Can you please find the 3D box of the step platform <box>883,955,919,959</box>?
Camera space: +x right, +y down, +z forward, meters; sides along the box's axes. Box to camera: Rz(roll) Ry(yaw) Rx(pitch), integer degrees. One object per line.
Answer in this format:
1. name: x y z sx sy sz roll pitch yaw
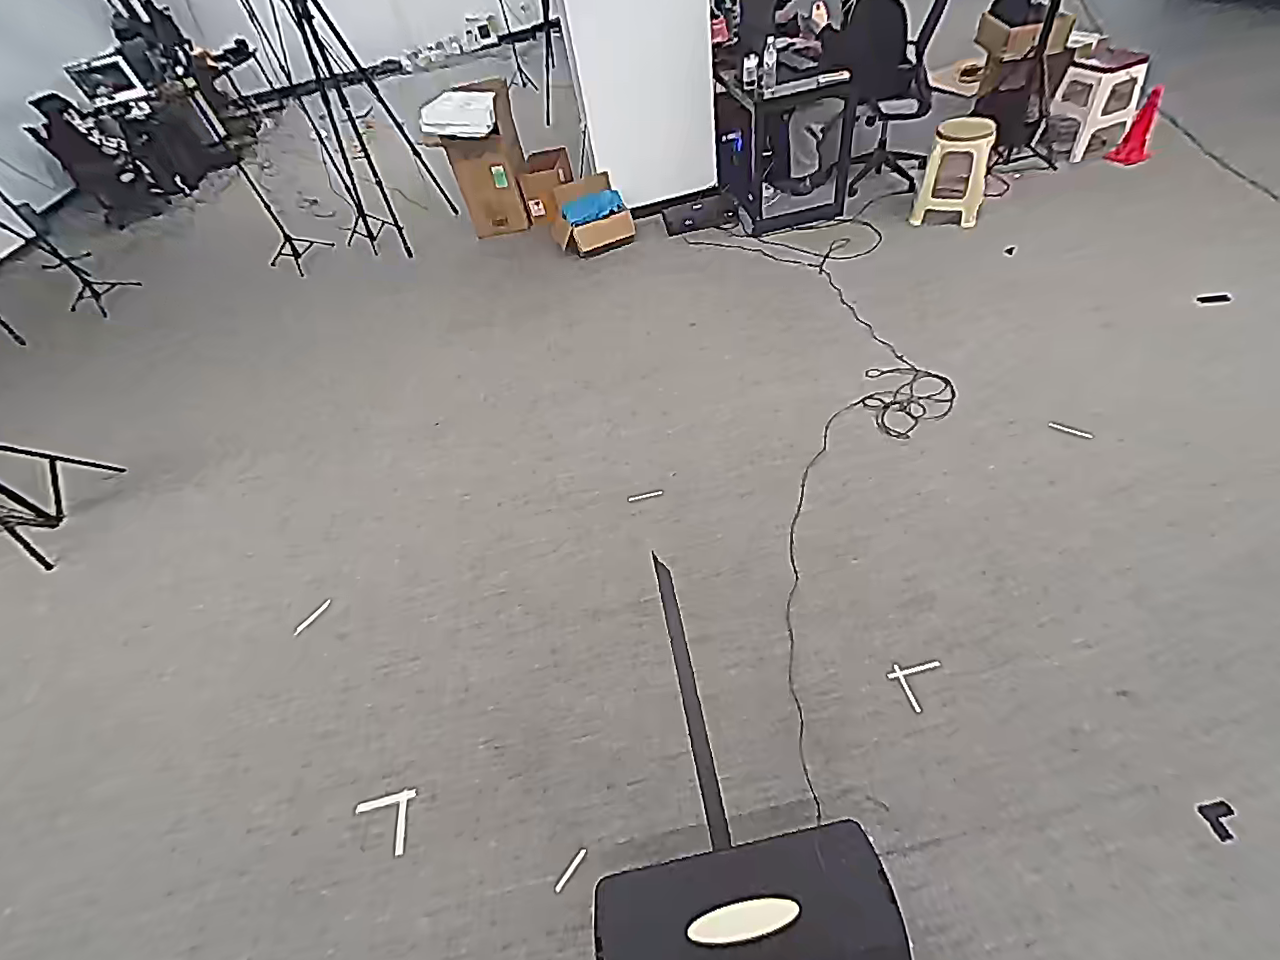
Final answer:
1. step platform: 0.278 1.144 1.005 0.684 0.204 0.286 -15 47 0
